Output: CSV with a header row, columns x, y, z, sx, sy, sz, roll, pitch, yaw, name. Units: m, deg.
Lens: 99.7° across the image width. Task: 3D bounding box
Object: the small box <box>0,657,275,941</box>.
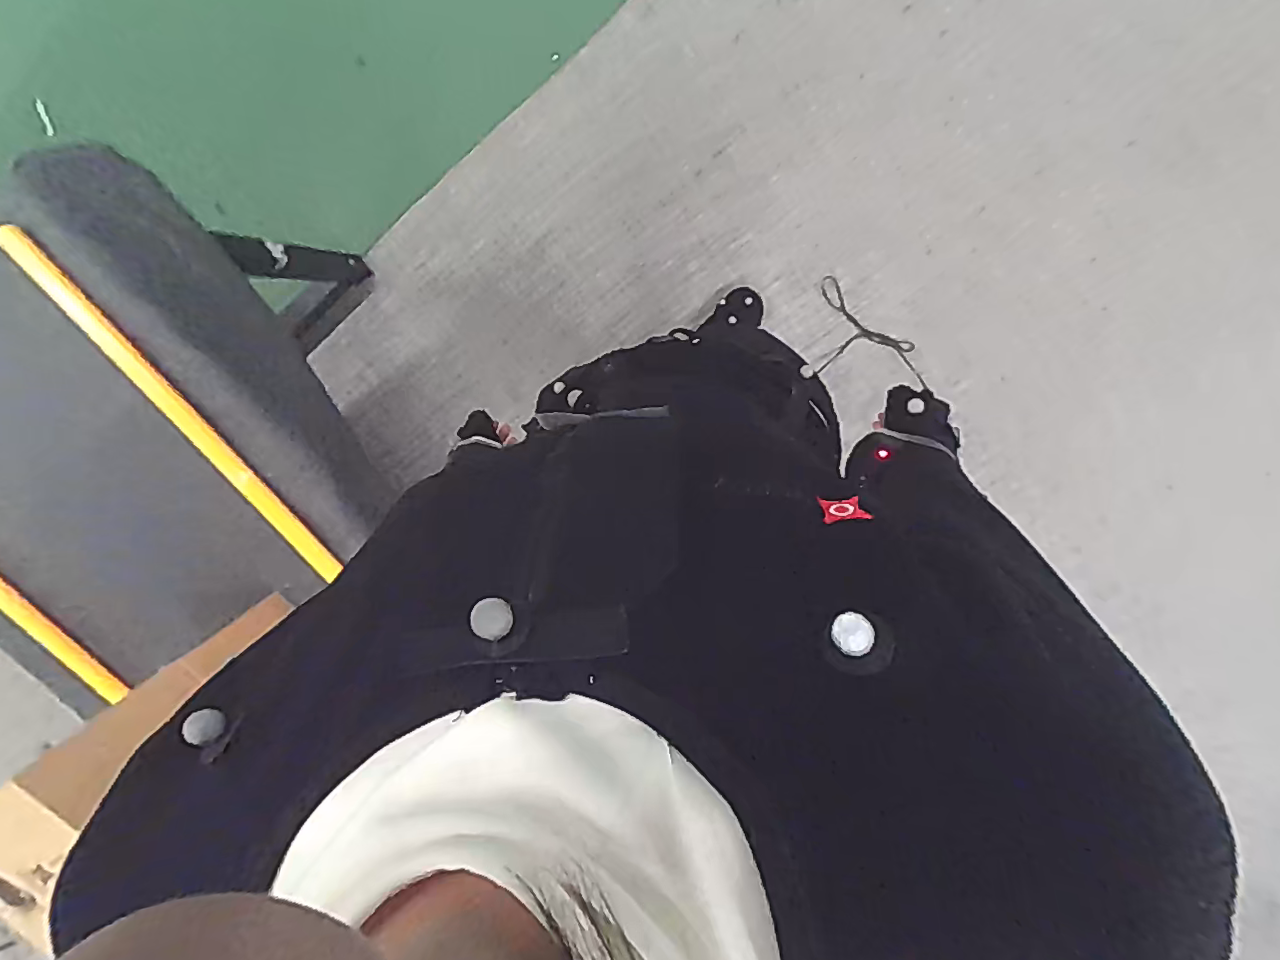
x,y,z,sx,sy,sz,roll,pitch,yaw,name
-0.555,0.334,0.588,0.179,0.176,0.168,-36,102,14,small box
